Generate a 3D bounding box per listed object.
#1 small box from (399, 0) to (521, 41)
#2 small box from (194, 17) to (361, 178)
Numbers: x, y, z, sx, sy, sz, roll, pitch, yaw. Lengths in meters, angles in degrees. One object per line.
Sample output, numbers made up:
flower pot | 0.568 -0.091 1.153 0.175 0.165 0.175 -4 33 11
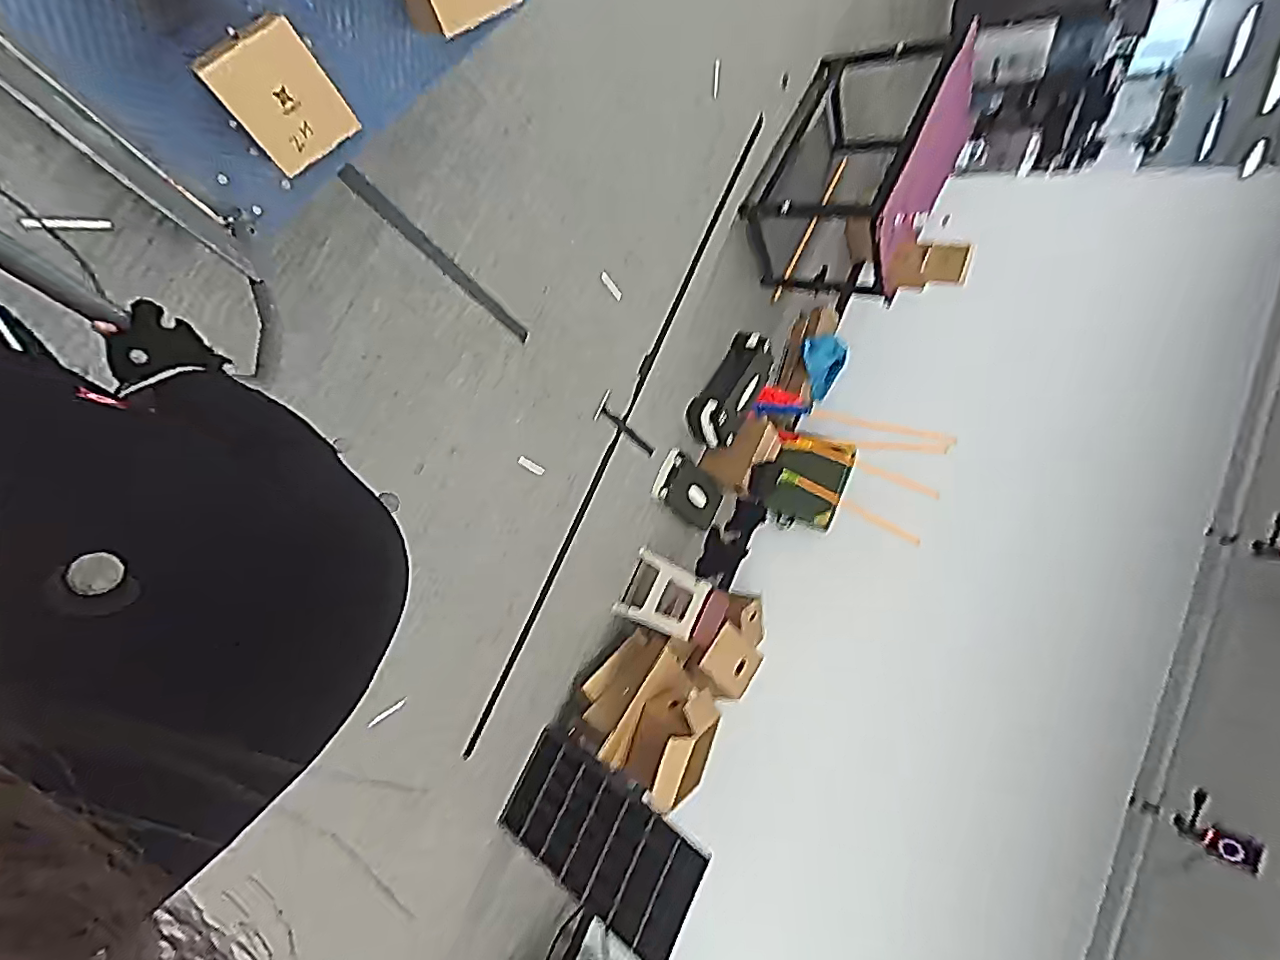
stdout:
small box | -0.357 -0.950 0.998 0.179 0.176 0.168 -37 142 -11
small box | -0.645 -0.679 0.962 0.168 0.176 0.179 -41 142 -7
